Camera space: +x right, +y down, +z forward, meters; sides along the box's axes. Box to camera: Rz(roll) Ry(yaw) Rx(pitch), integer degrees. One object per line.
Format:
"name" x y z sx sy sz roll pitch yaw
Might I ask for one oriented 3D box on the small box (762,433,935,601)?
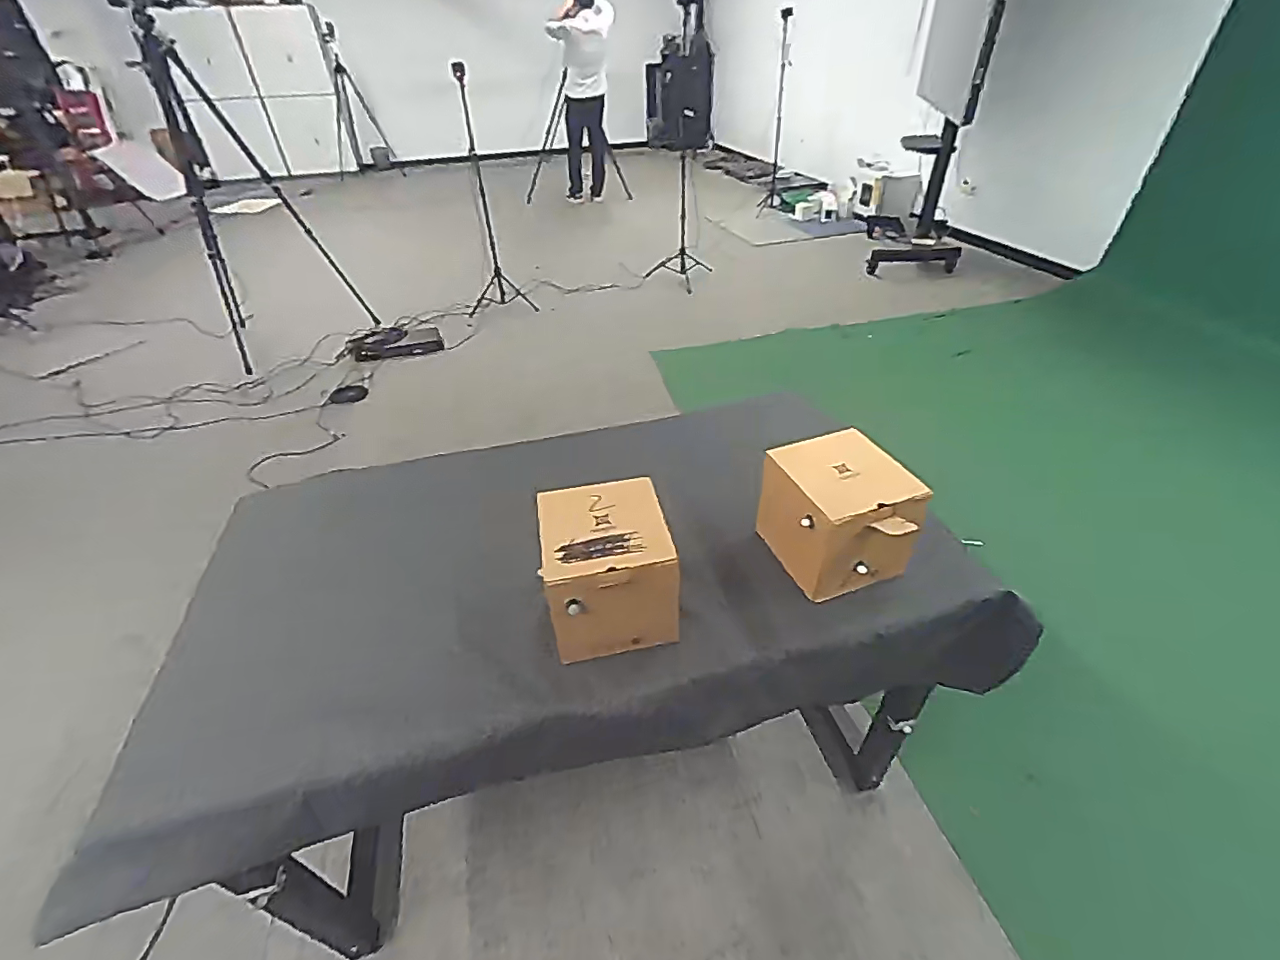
"small box" 0.304 0.054 0.835 0.168 0.176 0.179 -14 40 -14
